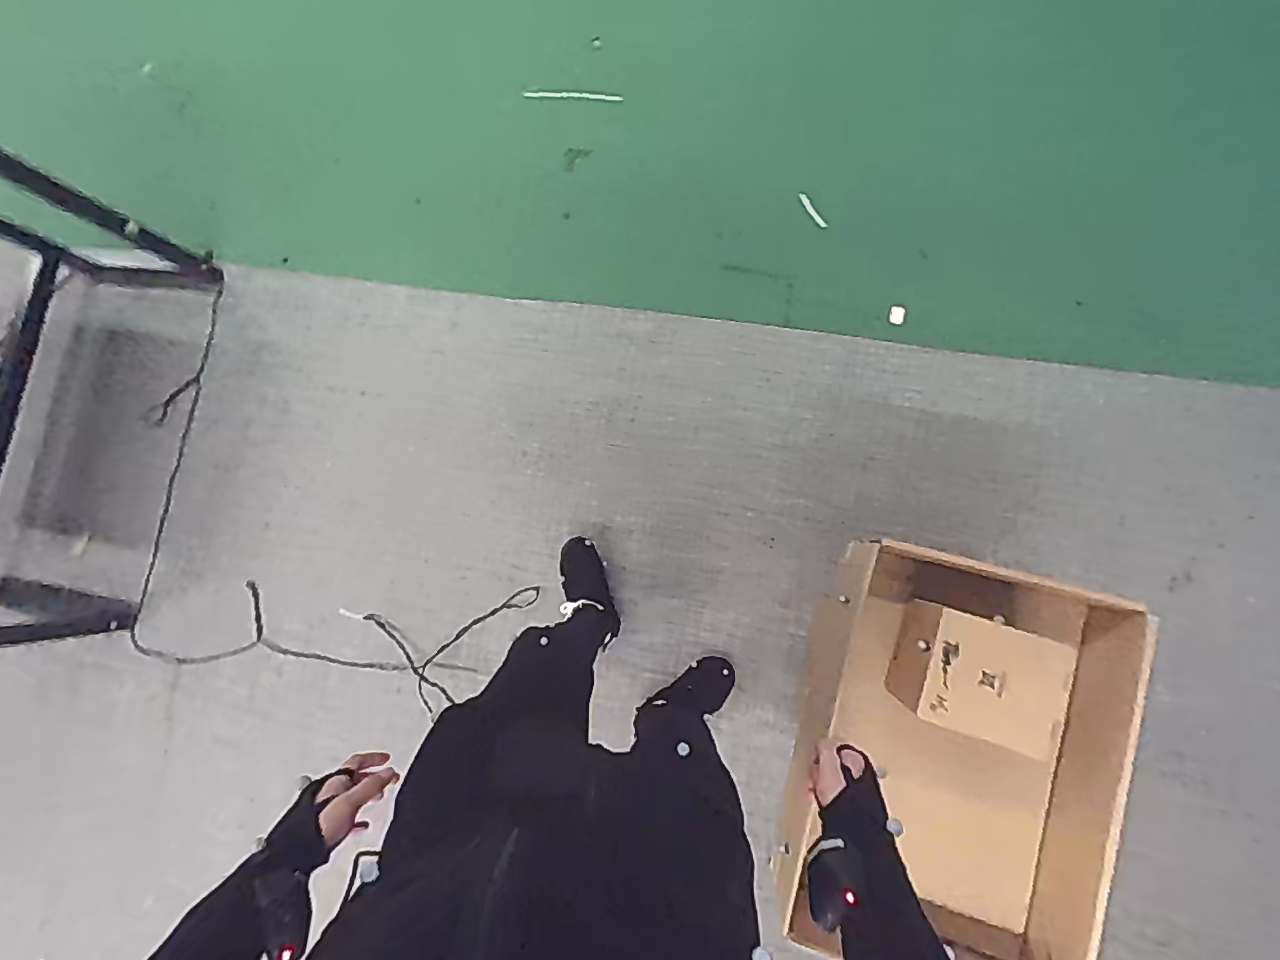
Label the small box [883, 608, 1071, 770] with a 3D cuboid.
[{"bbox_3d":[0.507,0.307,0.839,0.179,0.176,0.168,17,85,11],"label":"small box"}]
